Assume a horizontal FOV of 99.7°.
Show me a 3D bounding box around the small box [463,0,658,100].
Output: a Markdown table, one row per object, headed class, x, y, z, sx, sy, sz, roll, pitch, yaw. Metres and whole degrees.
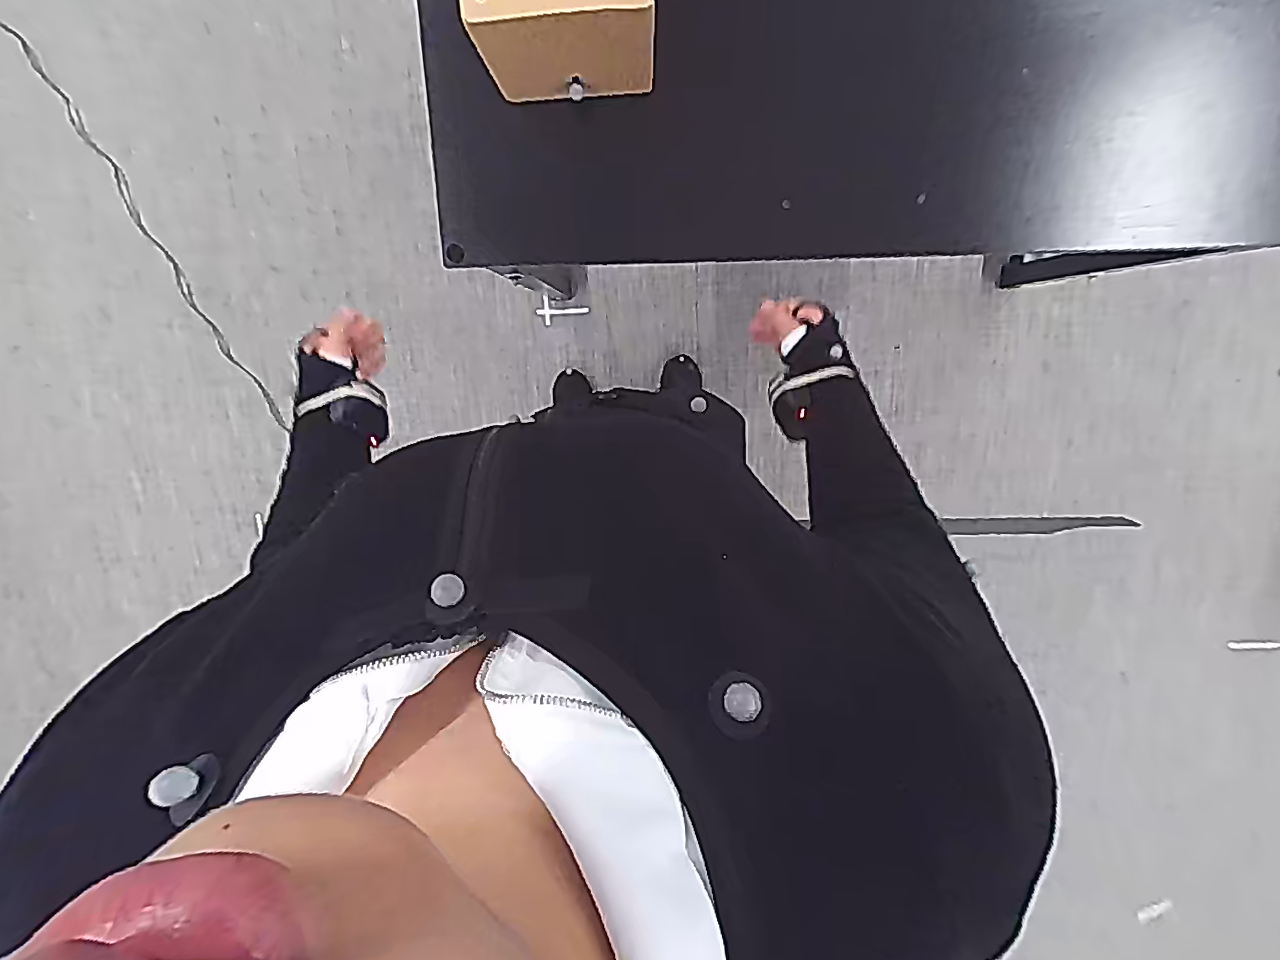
| class | x | y | z | sx | sy | sz | roll | pitch | yaw |
| --- | --- | --- | --- | --- | --- | --- | --- | --- | --- |
| small box | -0.077 | -0.514 | 0.546 | 0.179 | 0.176 | 0.168 | -4 | 103 | 0 |
